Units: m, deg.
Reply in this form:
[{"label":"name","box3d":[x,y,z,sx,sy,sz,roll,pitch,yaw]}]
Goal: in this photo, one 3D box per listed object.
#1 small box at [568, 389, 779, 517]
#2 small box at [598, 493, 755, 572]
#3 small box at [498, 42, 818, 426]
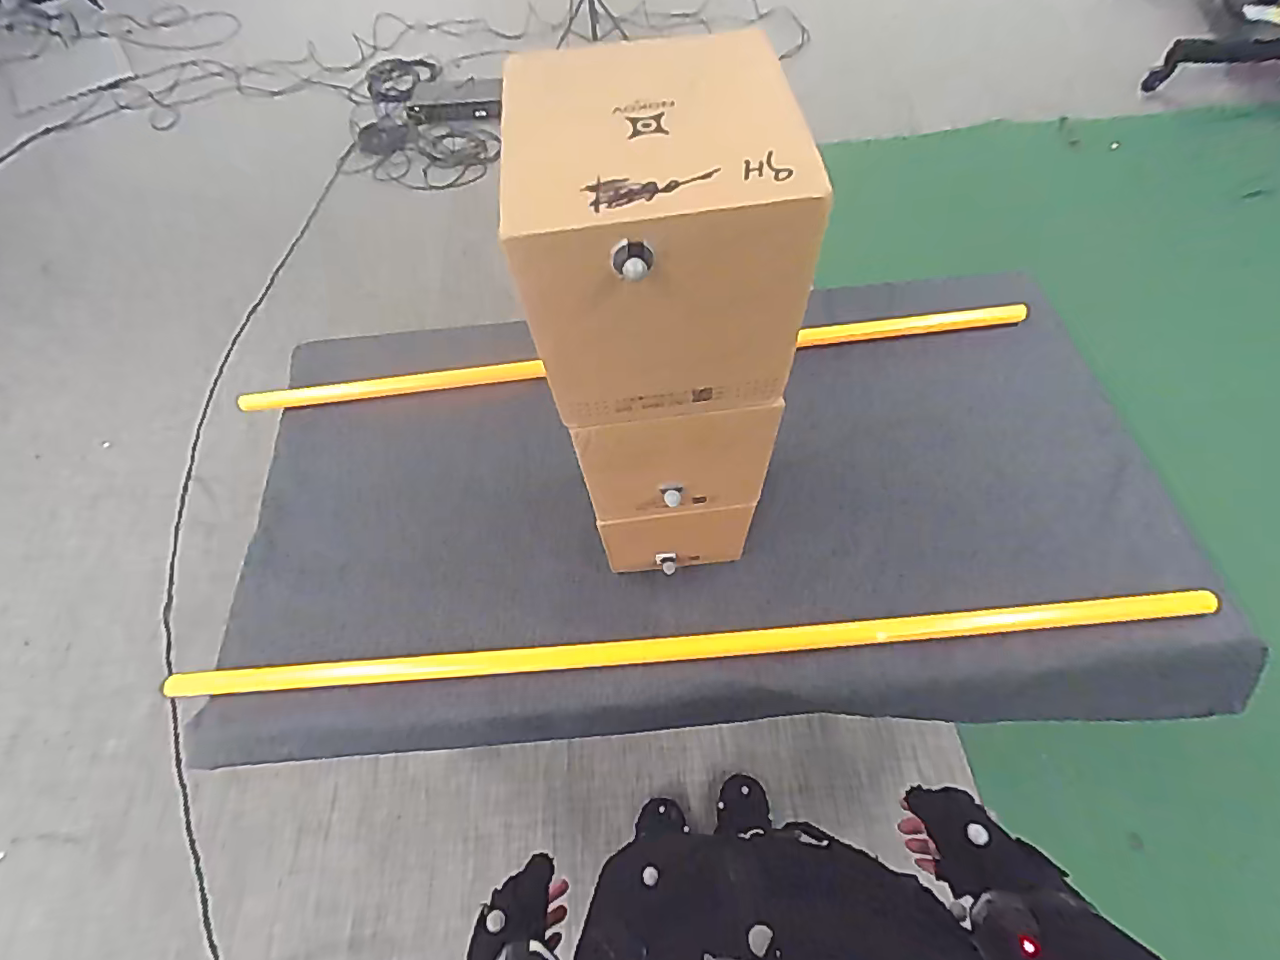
[{"label":"small box","box3d":[0.025,-0.083,0.524,0.168,0.176,0.179,-7,62,2]},{"label":"small box","box3d":[0.035,-0.002,0.667,0.168,0.176,0.179,-8,62,1]},{"label":"small box","box3d":[0.008,-0.162,0.382,0.168,0.176,0.179,-7,61,2]}]
